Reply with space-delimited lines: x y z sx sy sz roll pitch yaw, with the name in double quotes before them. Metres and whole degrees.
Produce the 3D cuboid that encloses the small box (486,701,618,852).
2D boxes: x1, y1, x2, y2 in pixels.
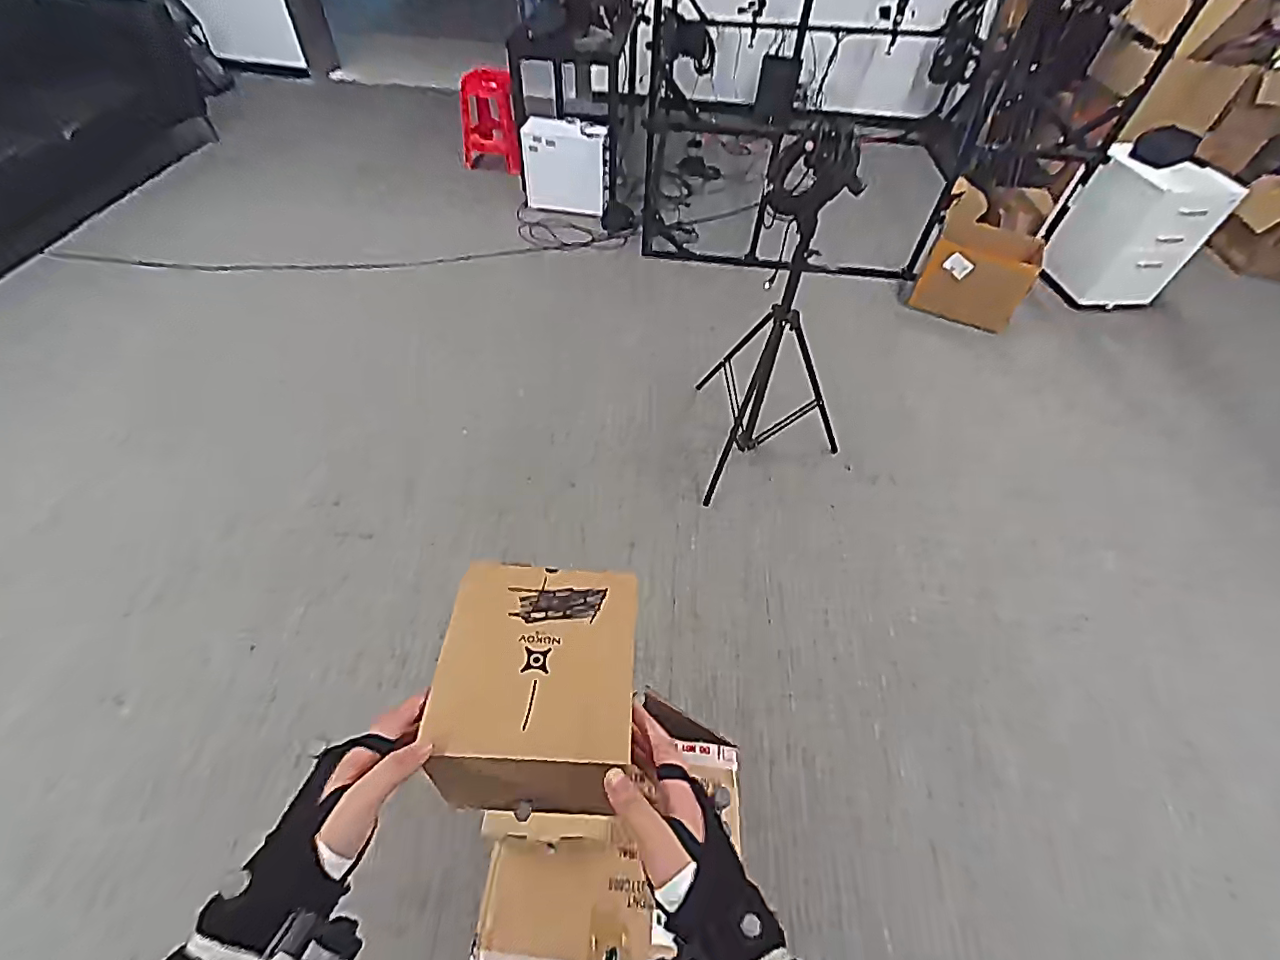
"small box" -0.120 0.449 0.817 0.168 0.176 0.179 1 53 0
